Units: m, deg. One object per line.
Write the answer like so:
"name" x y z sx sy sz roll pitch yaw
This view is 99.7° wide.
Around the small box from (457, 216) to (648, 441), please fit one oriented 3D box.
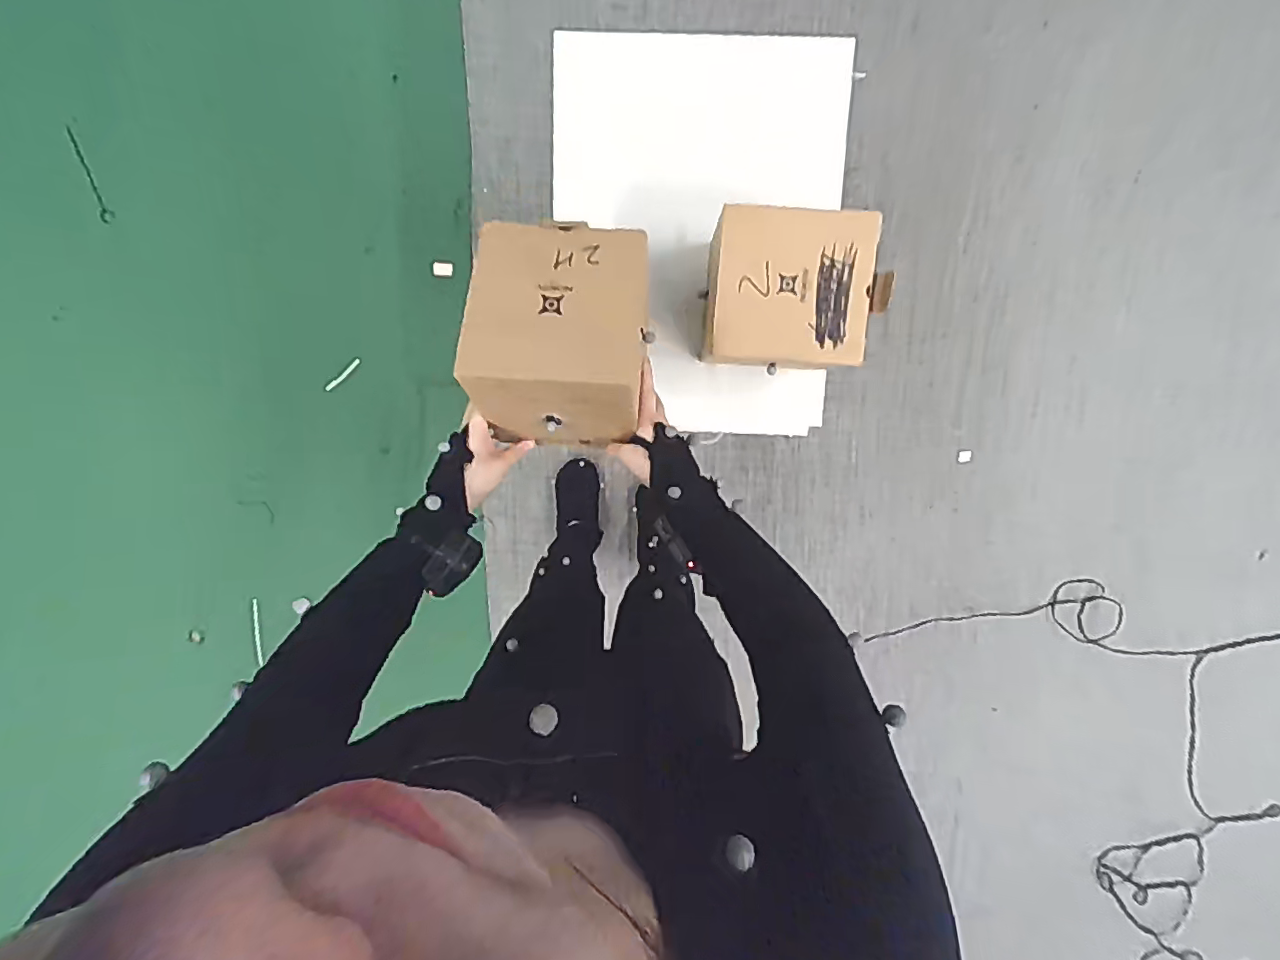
"small box" -0.079 -0.153 0.590 0.168 0.176 0.179 4 72 2
